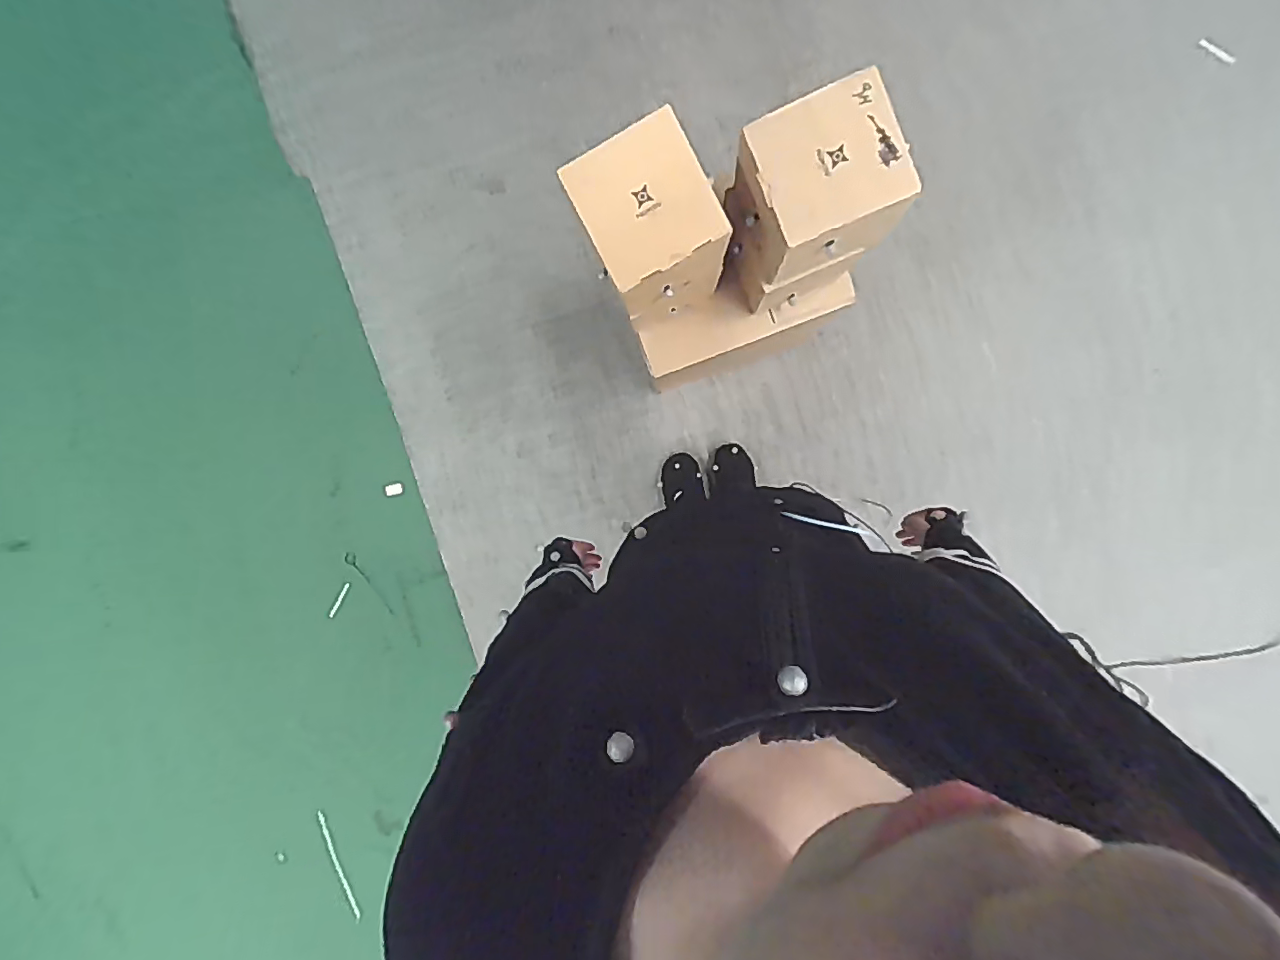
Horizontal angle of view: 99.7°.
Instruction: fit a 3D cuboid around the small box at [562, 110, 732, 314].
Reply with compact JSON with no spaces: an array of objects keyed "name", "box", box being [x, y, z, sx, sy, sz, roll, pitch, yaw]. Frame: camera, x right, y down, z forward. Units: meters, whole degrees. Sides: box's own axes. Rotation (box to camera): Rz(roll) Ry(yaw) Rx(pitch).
[{"name":"small box","box":[0.010,-0.364,0.773,0.168,0.176,0.179,-28,94,4]}]
